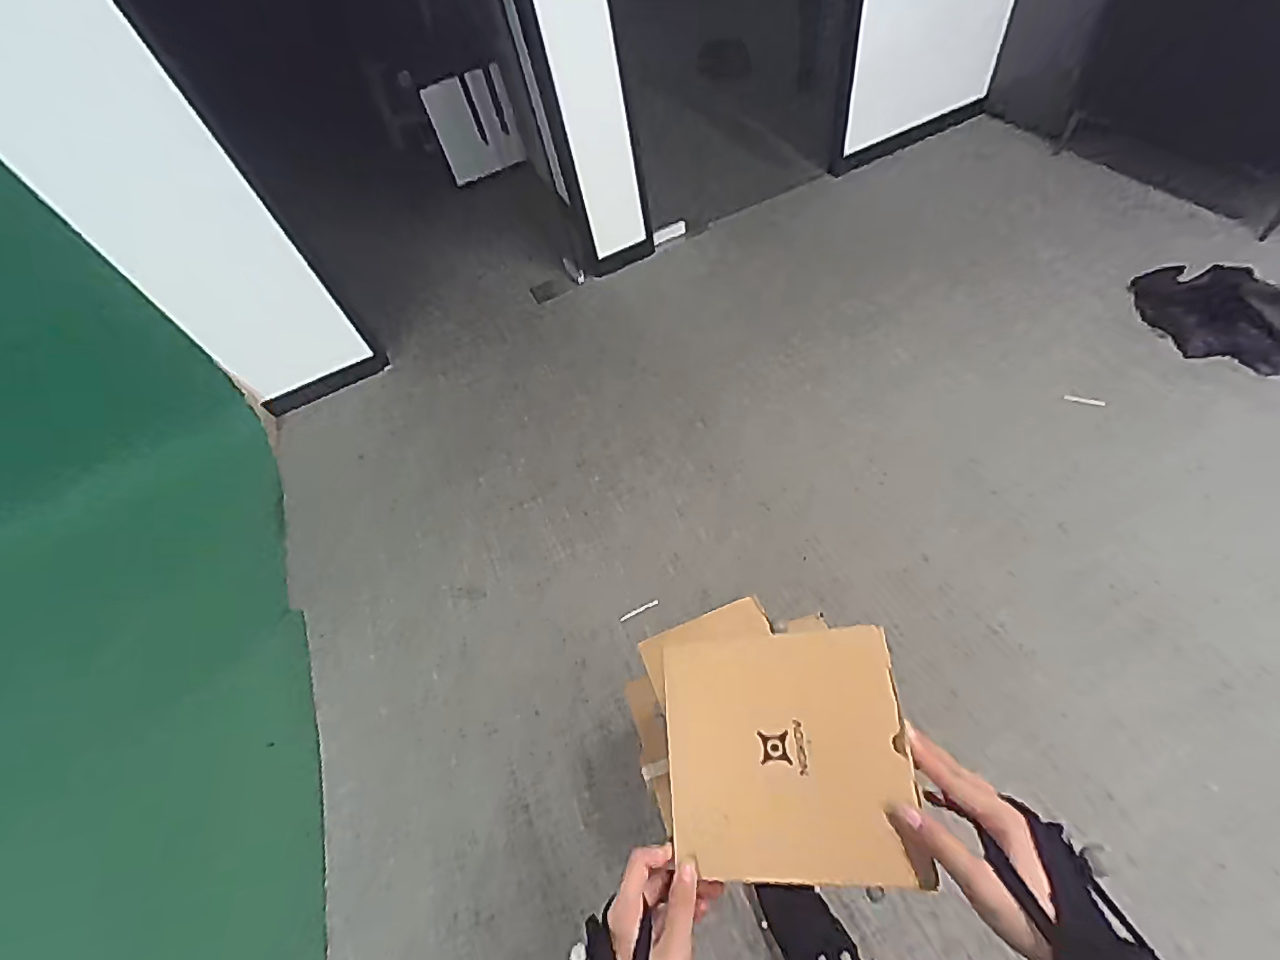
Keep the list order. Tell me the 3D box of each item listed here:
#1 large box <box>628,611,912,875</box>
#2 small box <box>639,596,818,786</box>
[{"bbox_3d":[0.229,0.520,1.059,0.408,0.320,0.320,-20,54,-4],"label":"large box"},{"bbox_3d":[0.116,0.291,0.738,0.179,0.176,0.168,-23,52,-4],"label":"small box"}]
